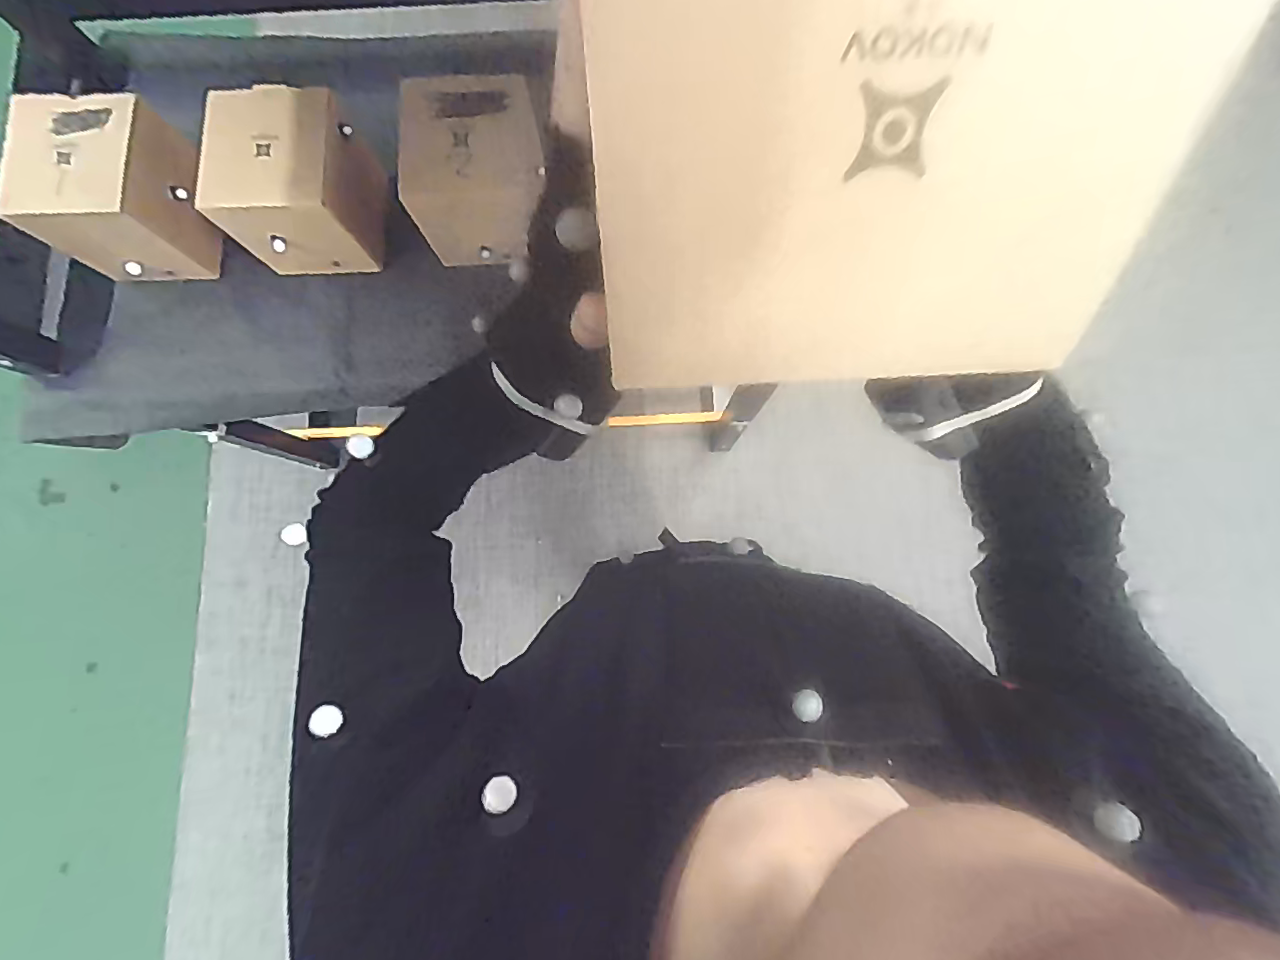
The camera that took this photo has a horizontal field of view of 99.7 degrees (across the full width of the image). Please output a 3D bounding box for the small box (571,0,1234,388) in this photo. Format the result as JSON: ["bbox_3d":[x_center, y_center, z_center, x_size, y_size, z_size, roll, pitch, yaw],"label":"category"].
[{"bbox_3d":[0.064,-0.156,0.209,0.168,0.179,0.176,-3,42,0],"label":"small box"}]

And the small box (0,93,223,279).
[{"bbox_3d":[-0.742,-0.414,0.782,0.168,0.176,0.179,-1,82,0],"label":"small box"}]

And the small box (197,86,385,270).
[{"bbox_3d":[-0.490,-0.423,0.785,0.168,0.176,0.179,-2,81,0],"label":"small box"}]
